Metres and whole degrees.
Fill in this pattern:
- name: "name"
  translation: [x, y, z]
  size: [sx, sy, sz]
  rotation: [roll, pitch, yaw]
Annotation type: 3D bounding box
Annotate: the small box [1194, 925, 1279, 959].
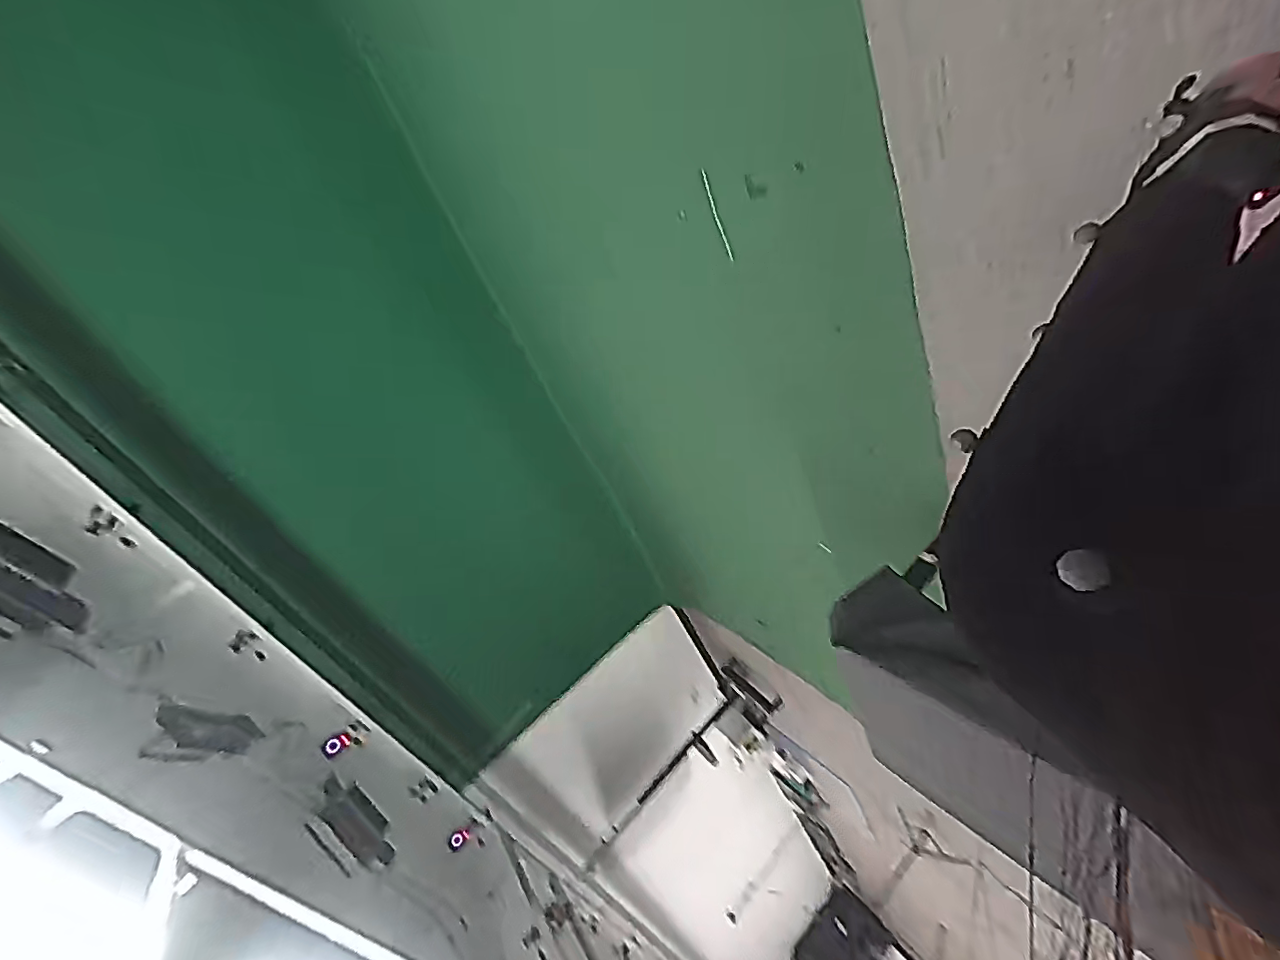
- name: "small box"
  translation: [1.031, 0.896, 0.882]
  size: [0.179, 0.176, 0.168]
  rotation: [55, 162, -14]
